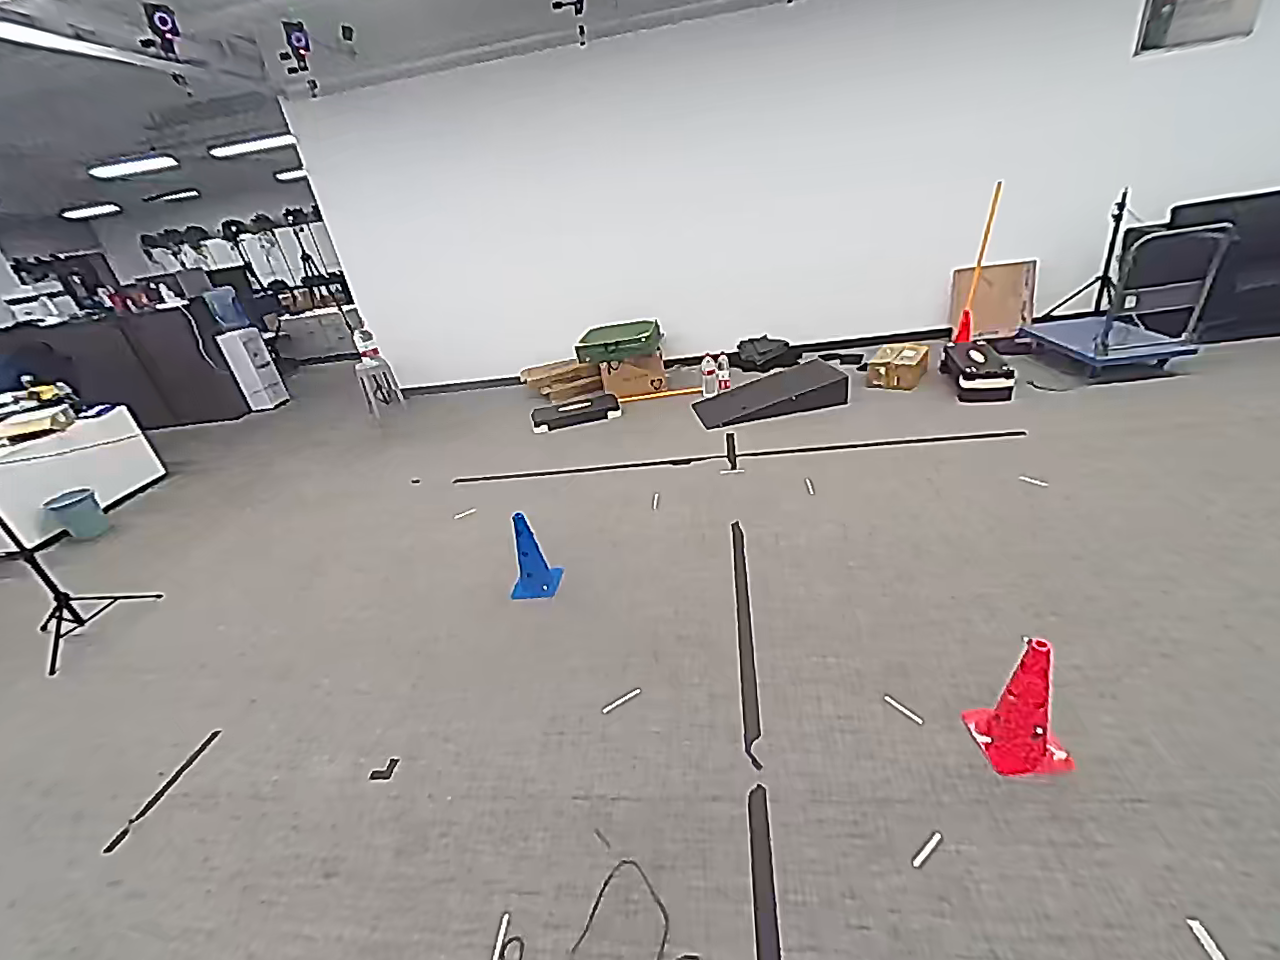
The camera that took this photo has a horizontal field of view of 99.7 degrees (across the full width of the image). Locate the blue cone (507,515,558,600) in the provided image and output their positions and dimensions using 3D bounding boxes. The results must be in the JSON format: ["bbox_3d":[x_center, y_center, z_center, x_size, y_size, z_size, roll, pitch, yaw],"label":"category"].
[{"bbox_3d":[-0.488,0.314,2.292,0.192,0.380,0.193,-5,28,10],"label":"blue cone"}]

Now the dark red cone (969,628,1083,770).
[{"bbox_3d":[0.993,0.528,1.363,0.201,0.394,0.202,-9,27,3],"label":"dark red cone"}]
